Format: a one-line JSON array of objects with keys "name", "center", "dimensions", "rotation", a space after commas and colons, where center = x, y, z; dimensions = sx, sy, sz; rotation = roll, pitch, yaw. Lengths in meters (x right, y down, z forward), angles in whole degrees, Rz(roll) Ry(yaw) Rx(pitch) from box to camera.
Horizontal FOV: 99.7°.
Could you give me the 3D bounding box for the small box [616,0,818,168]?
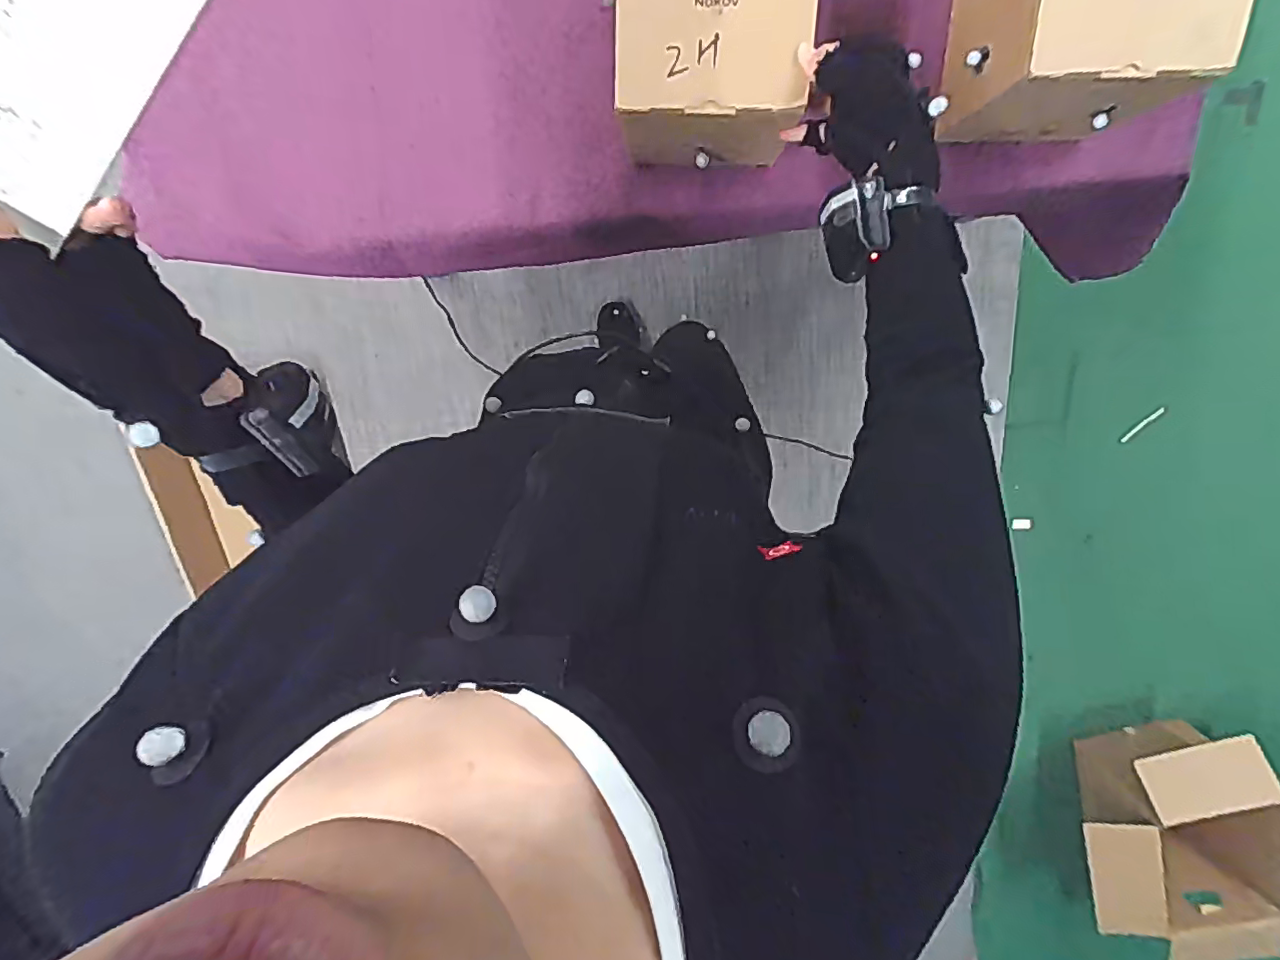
[{"name": "small box", "center": [0.067, -0.420, 0.514], "dimensions": [0.168, 0.176, 0.179], "rotation": [2, 106, 3]}]
